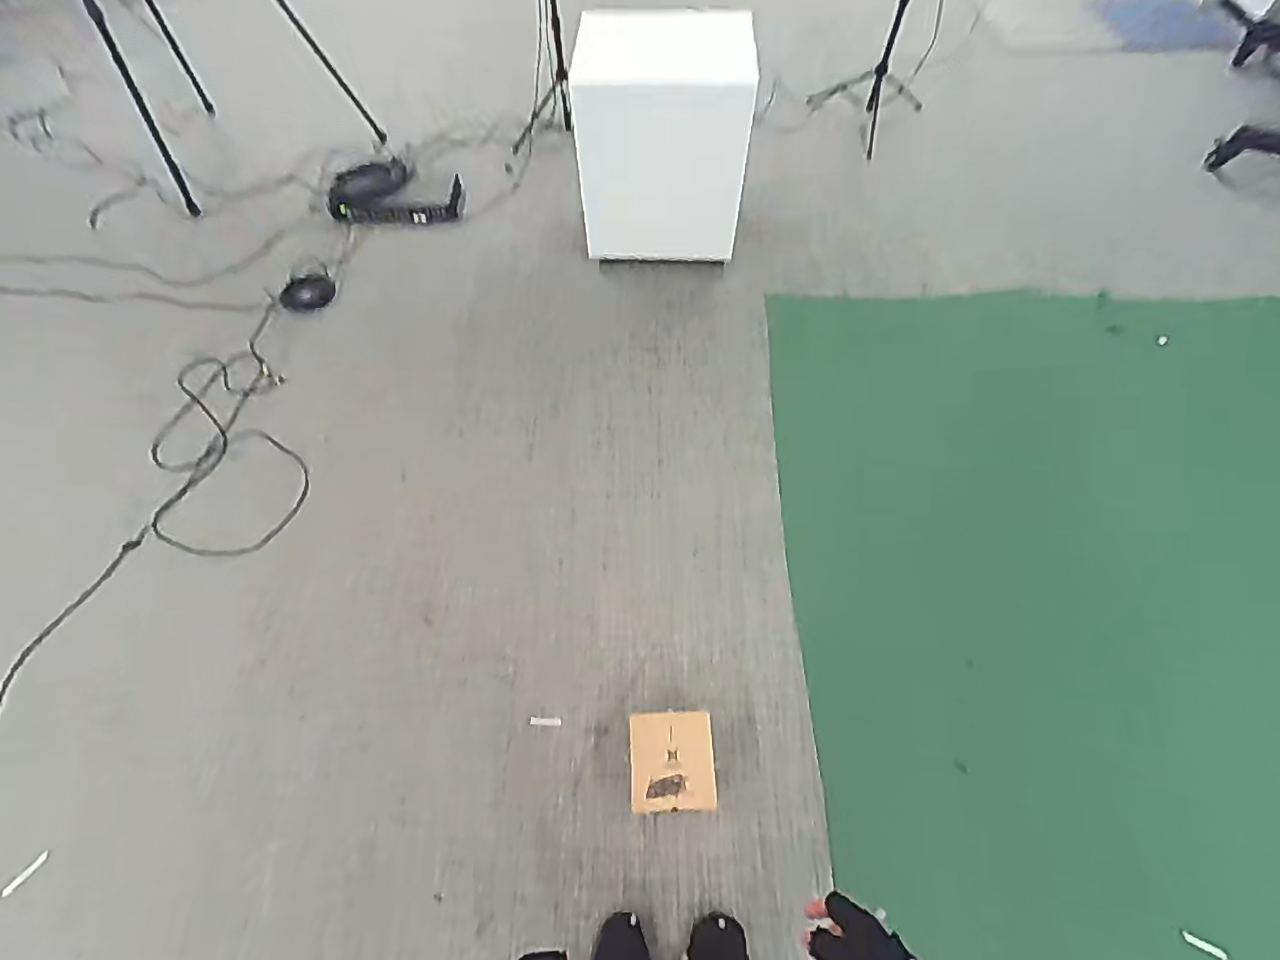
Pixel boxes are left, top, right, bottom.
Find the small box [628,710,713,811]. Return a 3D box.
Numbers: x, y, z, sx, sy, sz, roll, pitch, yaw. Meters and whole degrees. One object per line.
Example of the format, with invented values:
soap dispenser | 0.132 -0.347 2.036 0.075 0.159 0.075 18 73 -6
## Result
small box | 0.061 0.587 1.136 0.168 0.176 0.179 -2 61 0
